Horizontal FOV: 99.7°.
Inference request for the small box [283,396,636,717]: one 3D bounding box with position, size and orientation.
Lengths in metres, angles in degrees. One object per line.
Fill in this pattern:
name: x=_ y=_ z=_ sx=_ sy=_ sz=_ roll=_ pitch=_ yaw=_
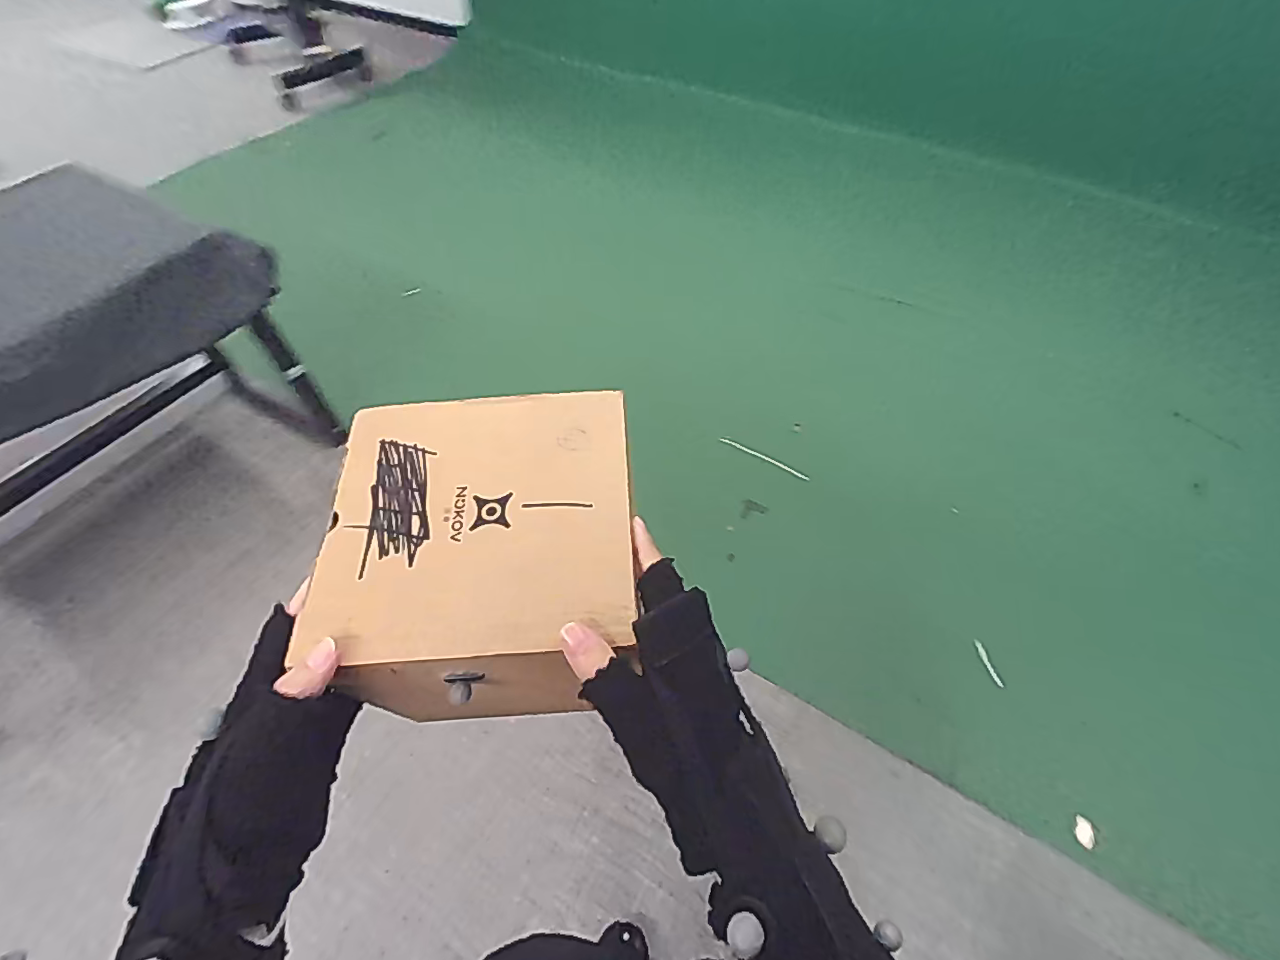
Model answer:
small box: x=-0.098 y=0.063 z=0.384 sx=0.179 sy=0.176 sz=0.168 roll=-5 pitch=57 yaw=-1
